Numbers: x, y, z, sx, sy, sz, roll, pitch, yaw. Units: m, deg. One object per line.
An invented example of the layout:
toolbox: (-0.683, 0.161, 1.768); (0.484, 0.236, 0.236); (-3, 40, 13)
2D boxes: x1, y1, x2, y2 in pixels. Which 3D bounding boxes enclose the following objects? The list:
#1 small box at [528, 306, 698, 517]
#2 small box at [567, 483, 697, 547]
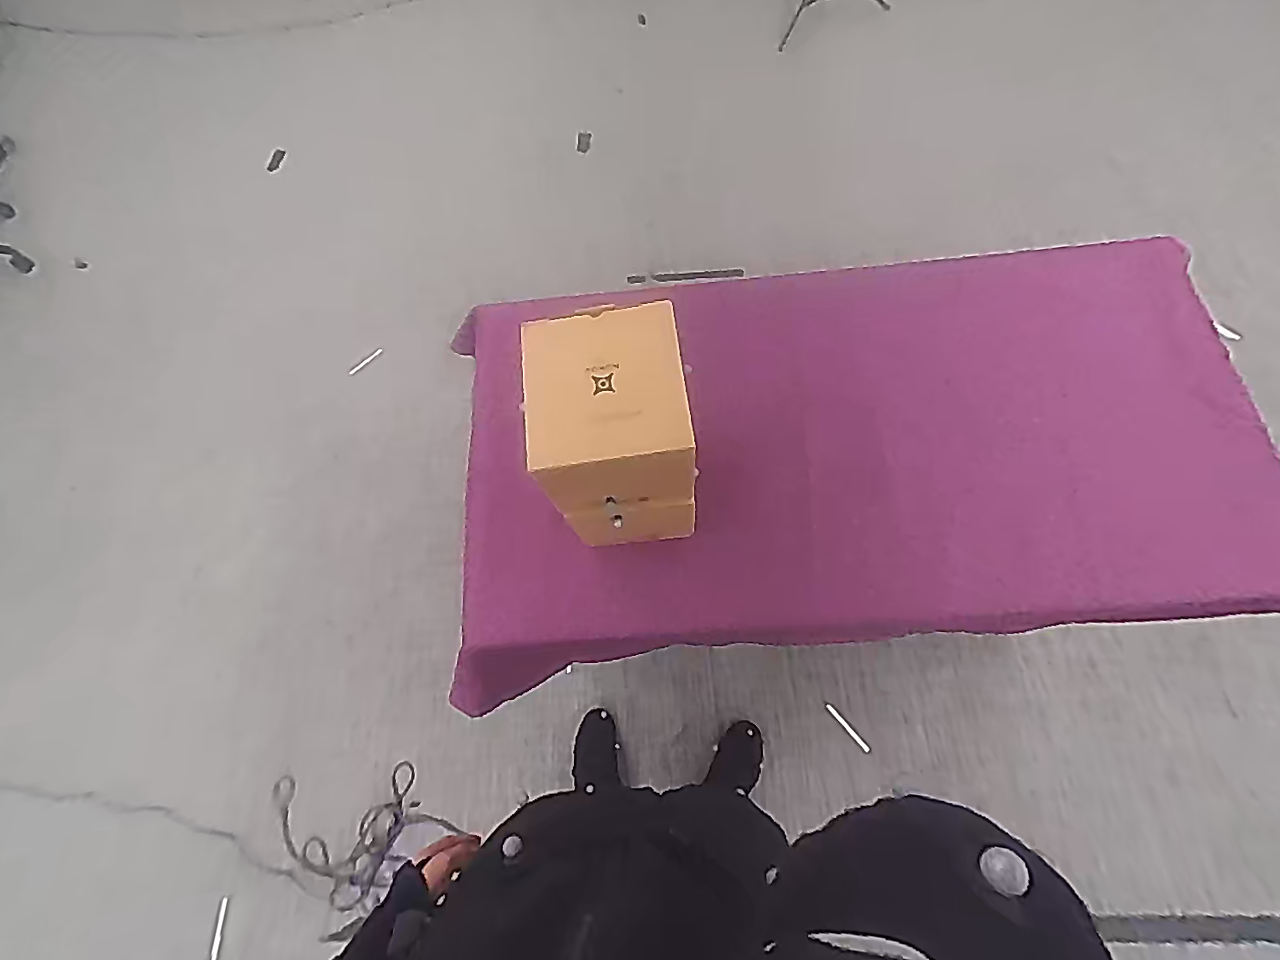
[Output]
small box: (-0.028, -0.070, 0.624); (0.168, 0.176, 0.179); (-7, 70, 3)
small box: (-0.010, -0.013, 0.777); (0.168, 0.176, 0.179); (-6, 69, 3)
